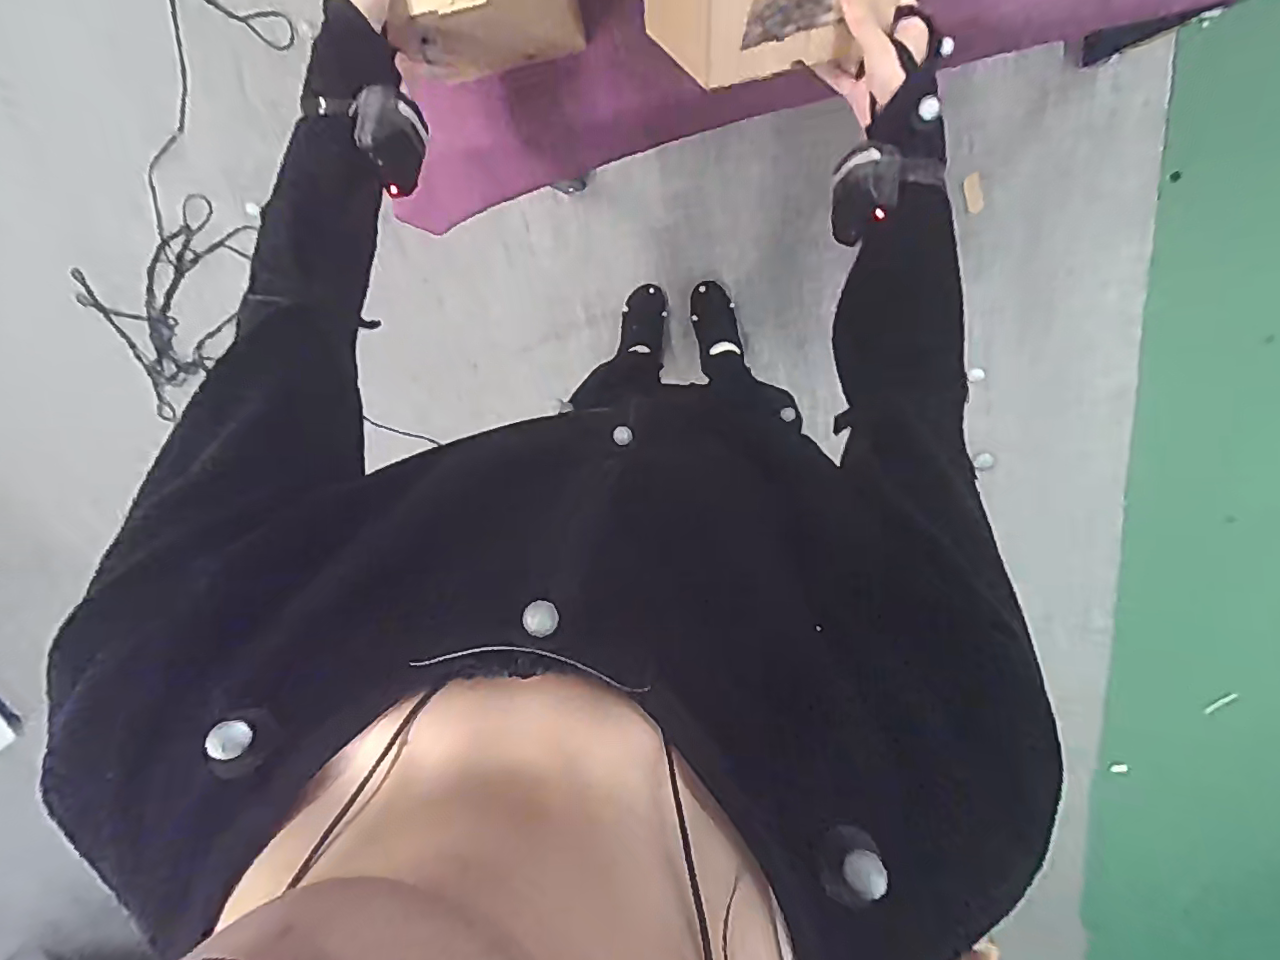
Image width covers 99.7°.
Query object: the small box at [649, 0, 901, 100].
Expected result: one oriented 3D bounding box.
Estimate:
[{"bbox_3d":[0.104,-0.445,0.431,0.168,0.176,0.179,-15,145,-7],"label":"small box"}]
